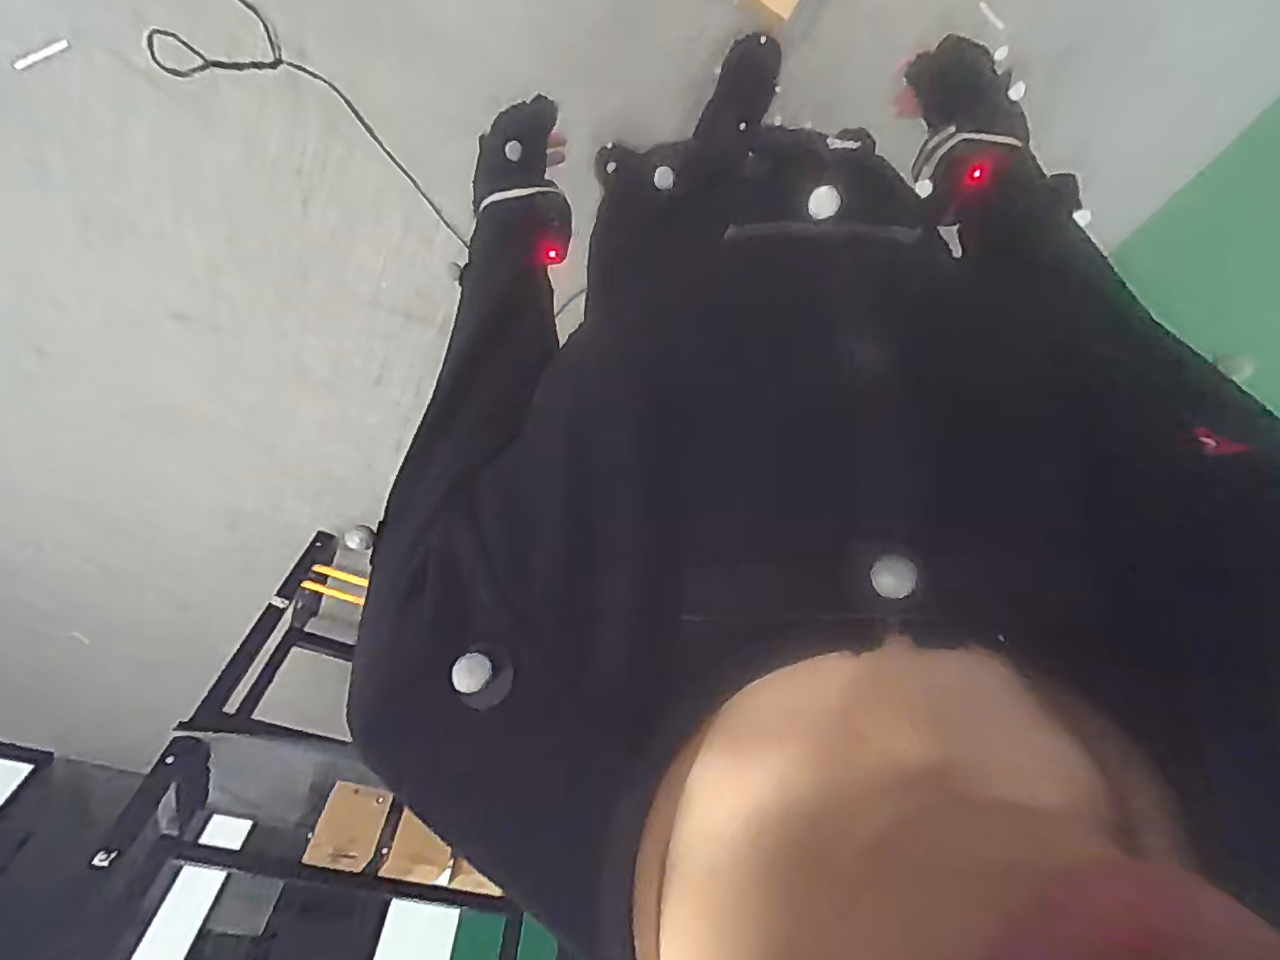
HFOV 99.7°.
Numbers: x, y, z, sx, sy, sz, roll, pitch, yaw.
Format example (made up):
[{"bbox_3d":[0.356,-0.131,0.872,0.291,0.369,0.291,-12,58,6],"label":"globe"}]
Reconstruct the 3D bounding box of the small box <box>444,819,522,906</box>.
[{"bbox_3d":[-0.474,1.166,1.649,0.168,0.176,0.179,22,126,-16],"label":"small box"}]
